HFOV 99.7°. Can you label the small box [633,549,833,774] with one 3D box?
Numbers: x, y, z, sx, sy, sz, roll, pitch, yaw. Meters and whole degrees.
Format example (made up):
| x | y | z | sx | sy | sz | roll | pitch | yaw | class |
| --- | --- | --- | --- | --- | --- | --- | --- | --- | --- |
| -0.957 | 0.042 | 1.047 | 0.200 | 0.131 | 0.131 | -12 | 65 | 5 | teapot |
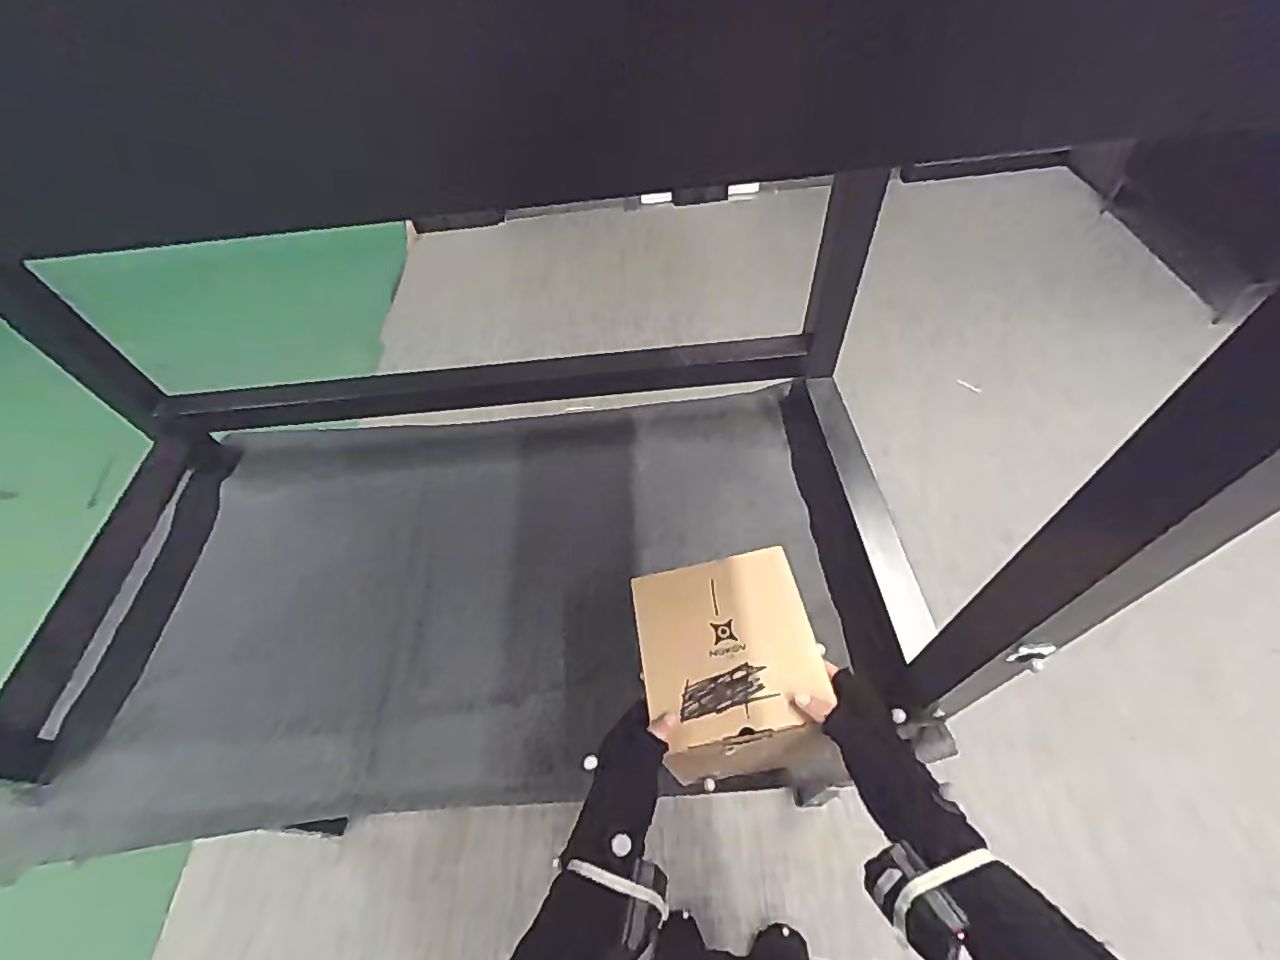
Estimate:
| x | y | z | sx | sy | sz | roll | pitch | yaw | class |
| --- | --- | --- | --- | --- | --- | --- | --- | --- | --- |
| 0.097 | 0.204 | 0.586 | 0.168 | 0.176 | 0.179 | -13 | 50 | 5 | small box |
